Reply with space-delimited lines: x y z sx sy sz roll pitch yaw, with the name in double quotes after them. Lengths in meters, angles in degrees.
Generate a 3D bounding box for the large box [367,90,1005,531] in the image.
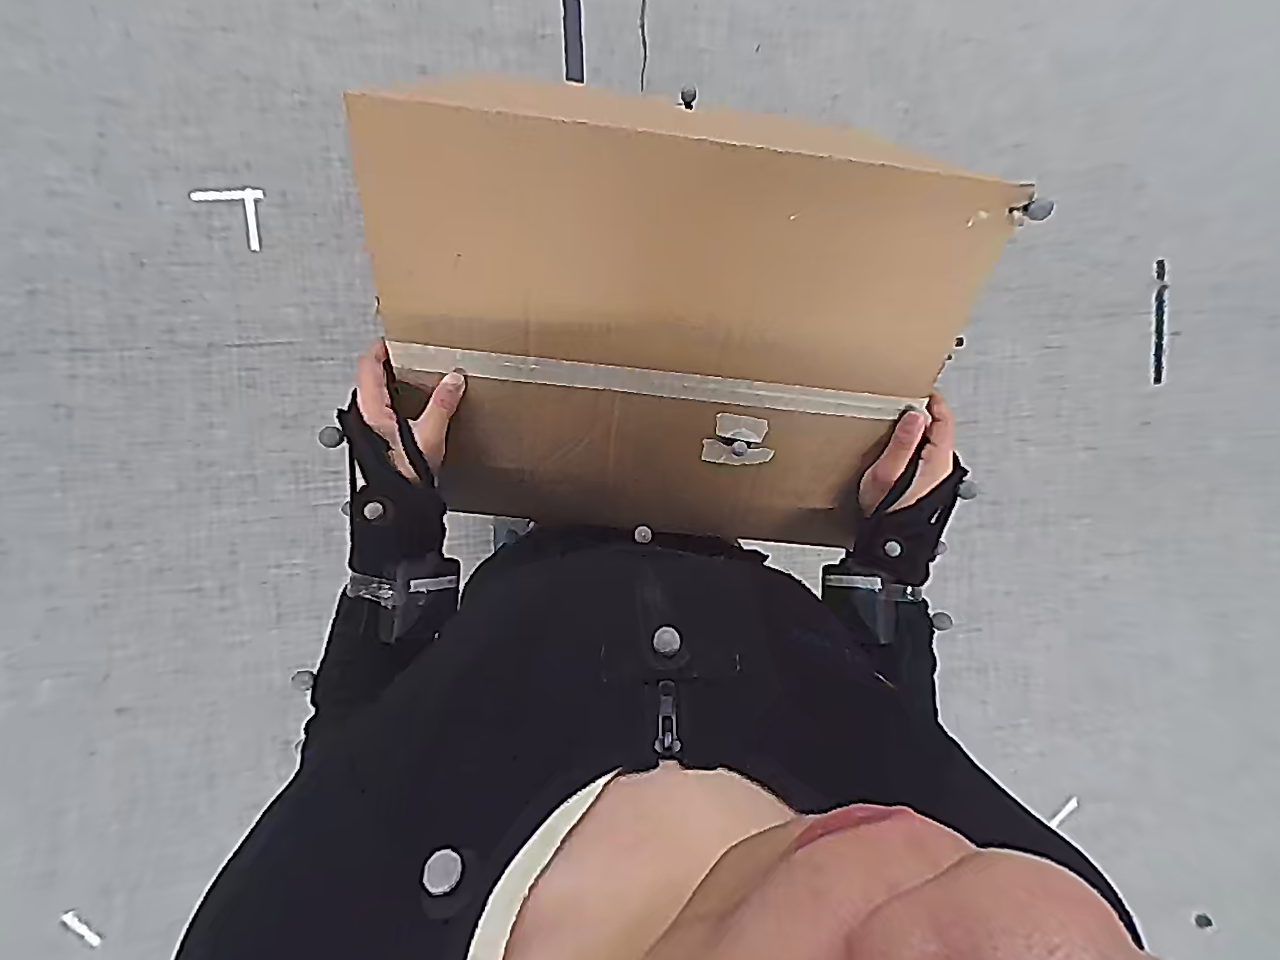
0.018 -0.174 0.536 0.408 0.320 0.320 4 130 -4 "large box"
